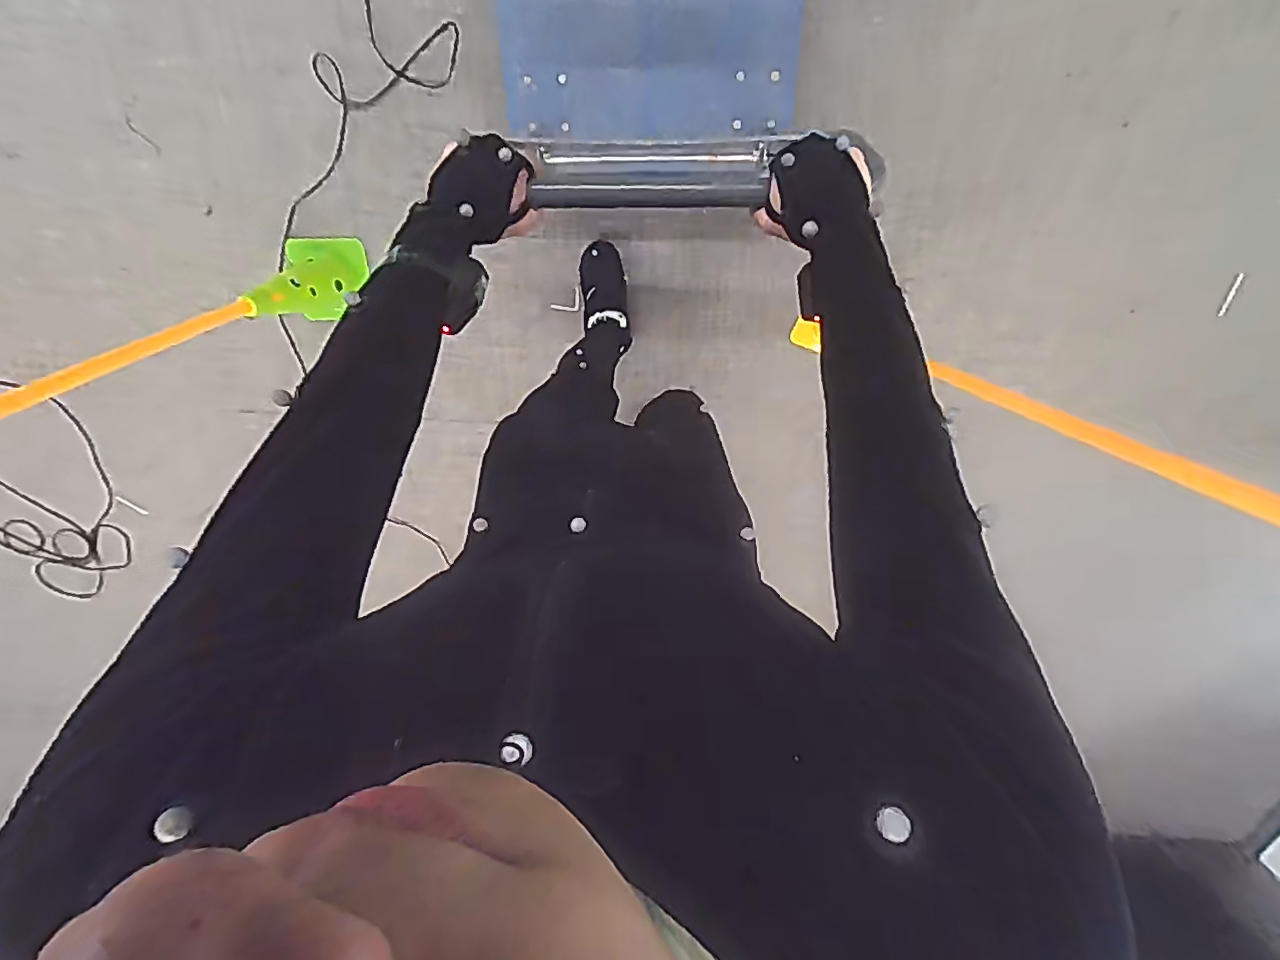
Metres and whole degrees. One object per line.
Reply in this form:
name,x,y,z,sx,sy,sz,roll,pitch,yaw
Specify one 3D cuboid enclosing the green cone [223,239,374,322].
green cone,-0.804,-0.430,1.237,0.202,0.368,0.200,0,118,2
